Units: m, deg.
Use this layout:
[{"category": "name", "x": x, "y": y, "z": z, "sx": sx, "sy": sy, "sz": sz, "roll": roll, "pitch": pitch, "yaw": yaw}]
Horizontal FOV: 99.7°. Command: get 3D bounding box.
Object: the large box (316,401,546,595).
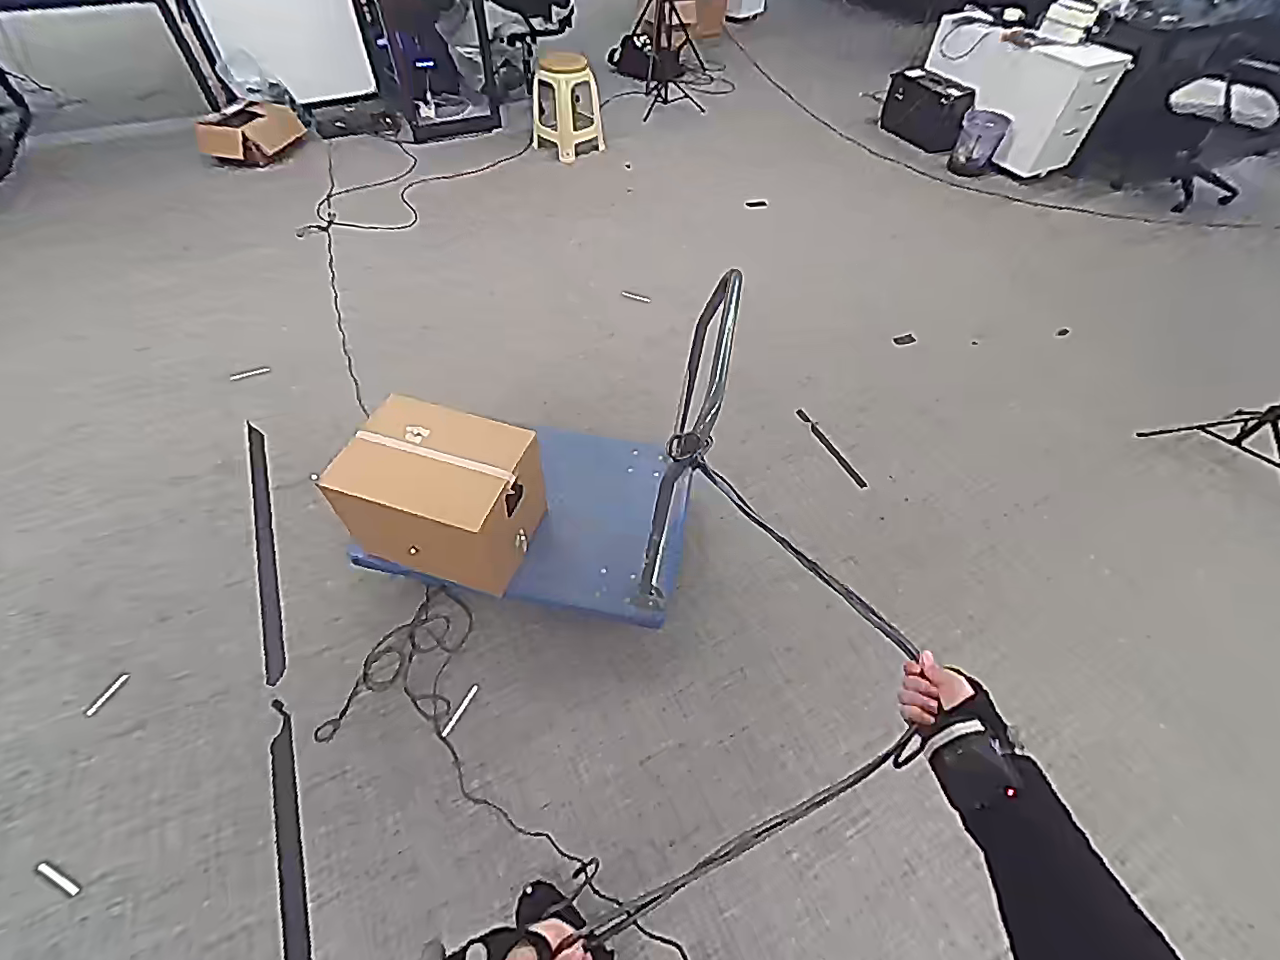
[{"category": "large box", "x": -0.491, "y": 0.049, "z": 1.373, "sx": 0.408, "sy": 0.320, "sz": 0.320, "roll": 15, "pitch": 52, "yaw": 9}]
